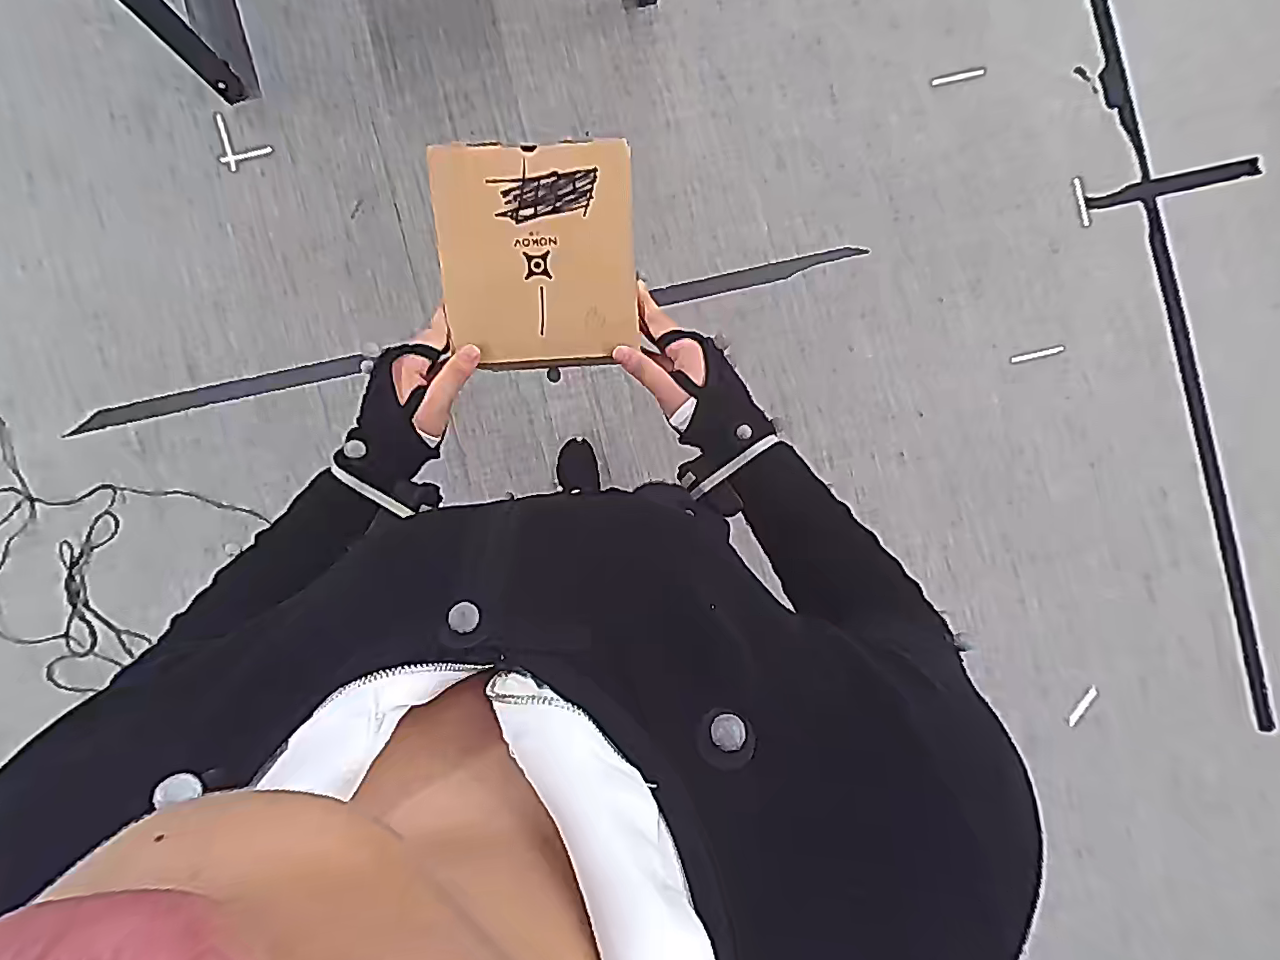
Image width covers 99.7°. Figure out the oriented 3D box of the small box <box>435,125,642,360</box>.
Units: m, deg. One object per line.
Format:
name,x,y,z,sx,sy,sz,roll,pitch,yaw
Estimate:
small box,-0.088,-0.216,0.535,0.168,0.176,0.179,-4,100,-3
